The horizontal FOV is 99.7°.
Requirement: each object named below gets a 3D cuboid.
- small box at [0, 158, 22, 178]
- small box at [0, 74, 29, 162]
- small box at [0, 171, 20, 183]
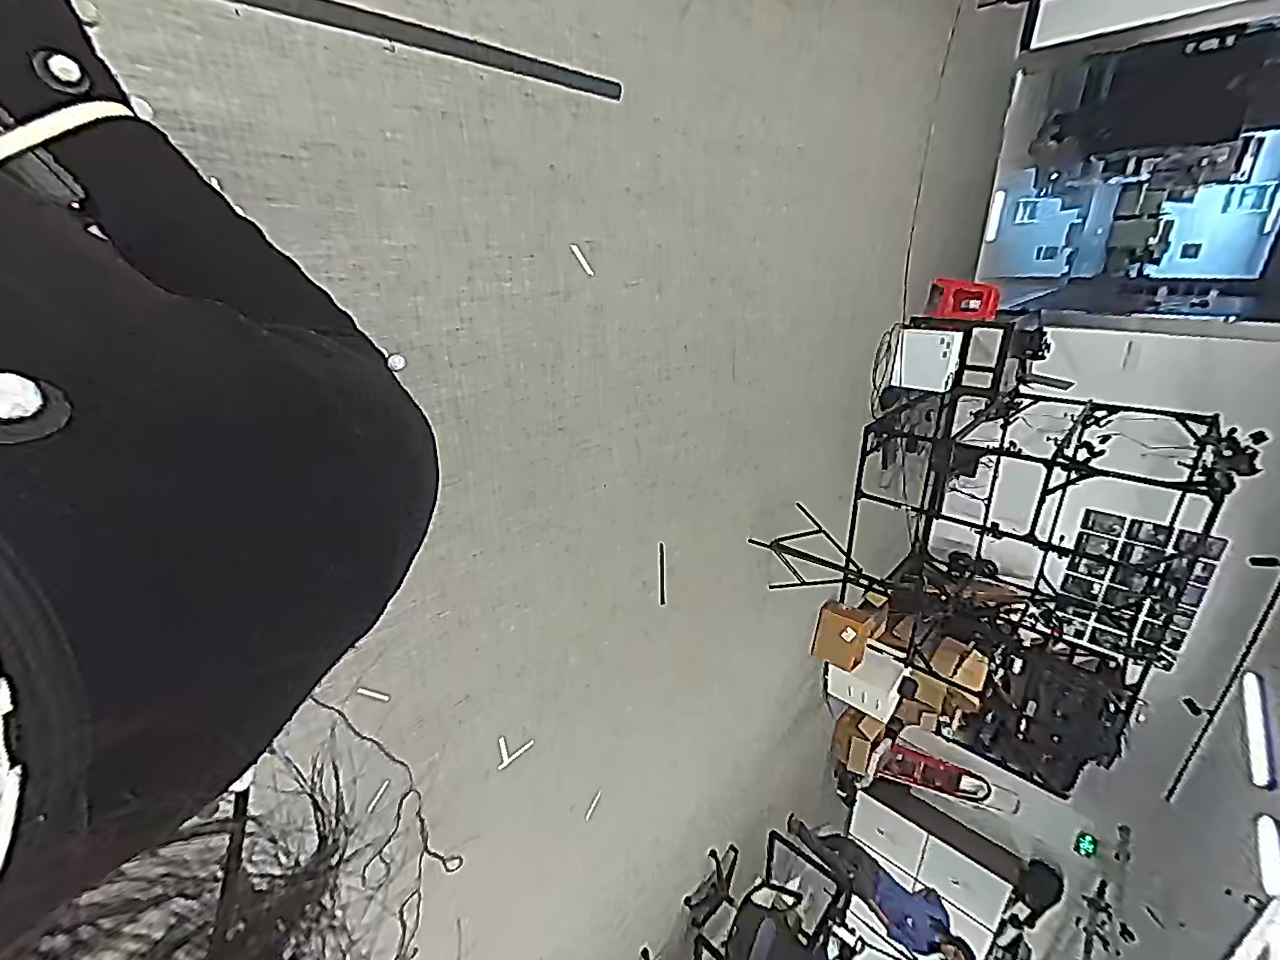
[{"bbox_3d":[-0.967,-0.508,0.705,0.168,0.176,0.179,-26,121,-41],"label":"small box"},{"bbox_3d":[-0.842,-0.470,0.603,0.168,0.176,0.179,-26,123,-41],"label":"small box"},{"bbox_3d":[-1.088,-0.548,0.808,0.179,0.176,0.168,-23,120,-41],"label":"small box"}]
